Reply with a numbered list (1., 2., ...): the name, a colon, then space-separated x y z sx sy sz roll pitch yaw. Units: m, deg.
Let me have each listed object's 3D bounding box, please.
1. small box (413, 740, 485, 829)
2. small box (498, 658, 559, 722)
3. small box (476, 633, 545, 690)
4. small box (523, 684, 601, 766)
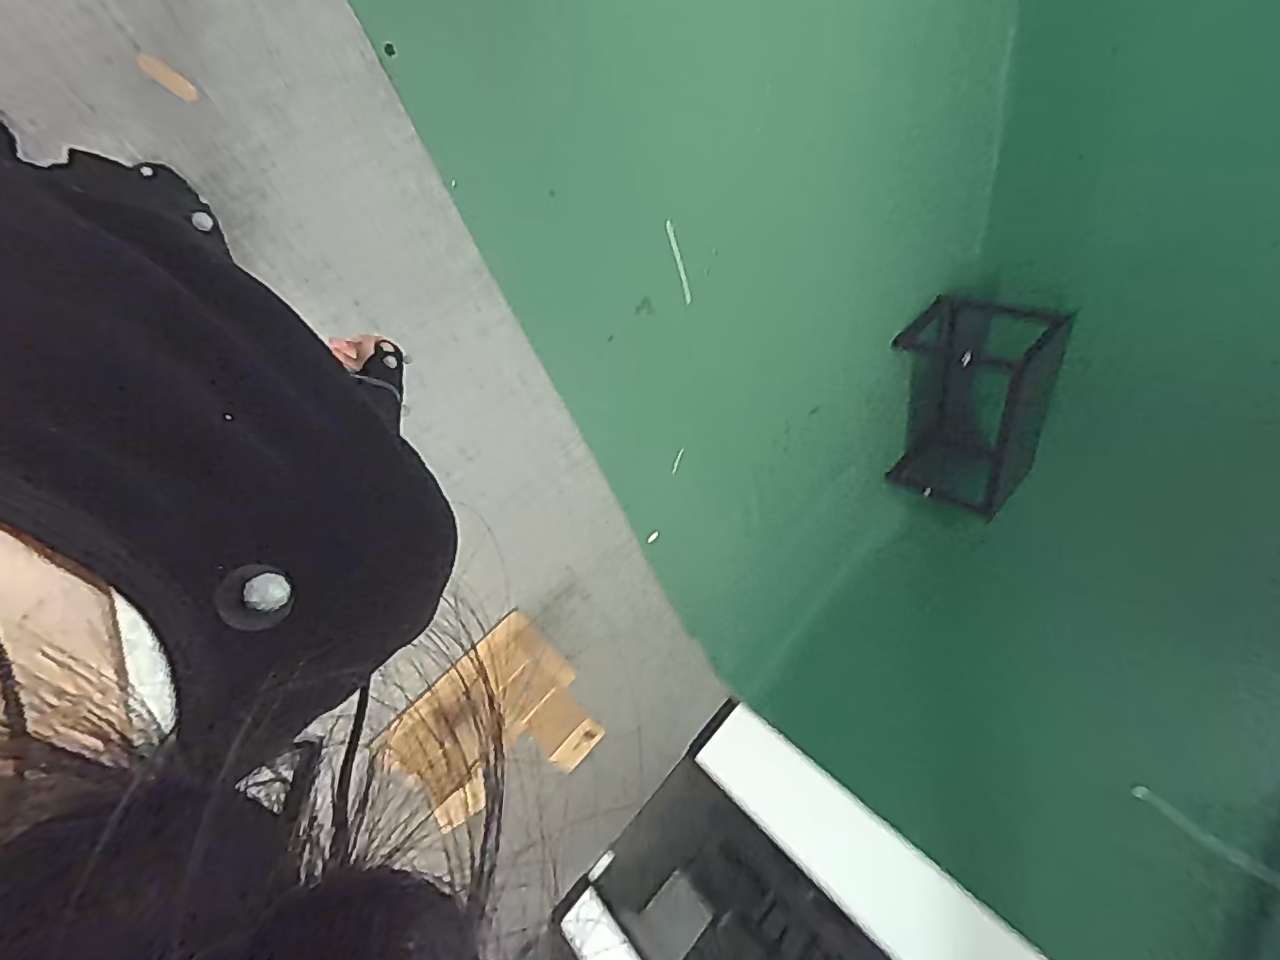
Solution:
1. small box: -0.658 1.042 1.865 0.168 0.176 0.179 -26 129 -31
2. small box: -0.389 0.784 1.983 0.168 0.176 0.179 -44 137 -17
3. small box: -0.500 0.718 2.086 0.168 0.176 0.179 -44 138 -17
4. small box: -0.272 0.849 1.886 0.179 0.176 0.168 -45 137 -16
